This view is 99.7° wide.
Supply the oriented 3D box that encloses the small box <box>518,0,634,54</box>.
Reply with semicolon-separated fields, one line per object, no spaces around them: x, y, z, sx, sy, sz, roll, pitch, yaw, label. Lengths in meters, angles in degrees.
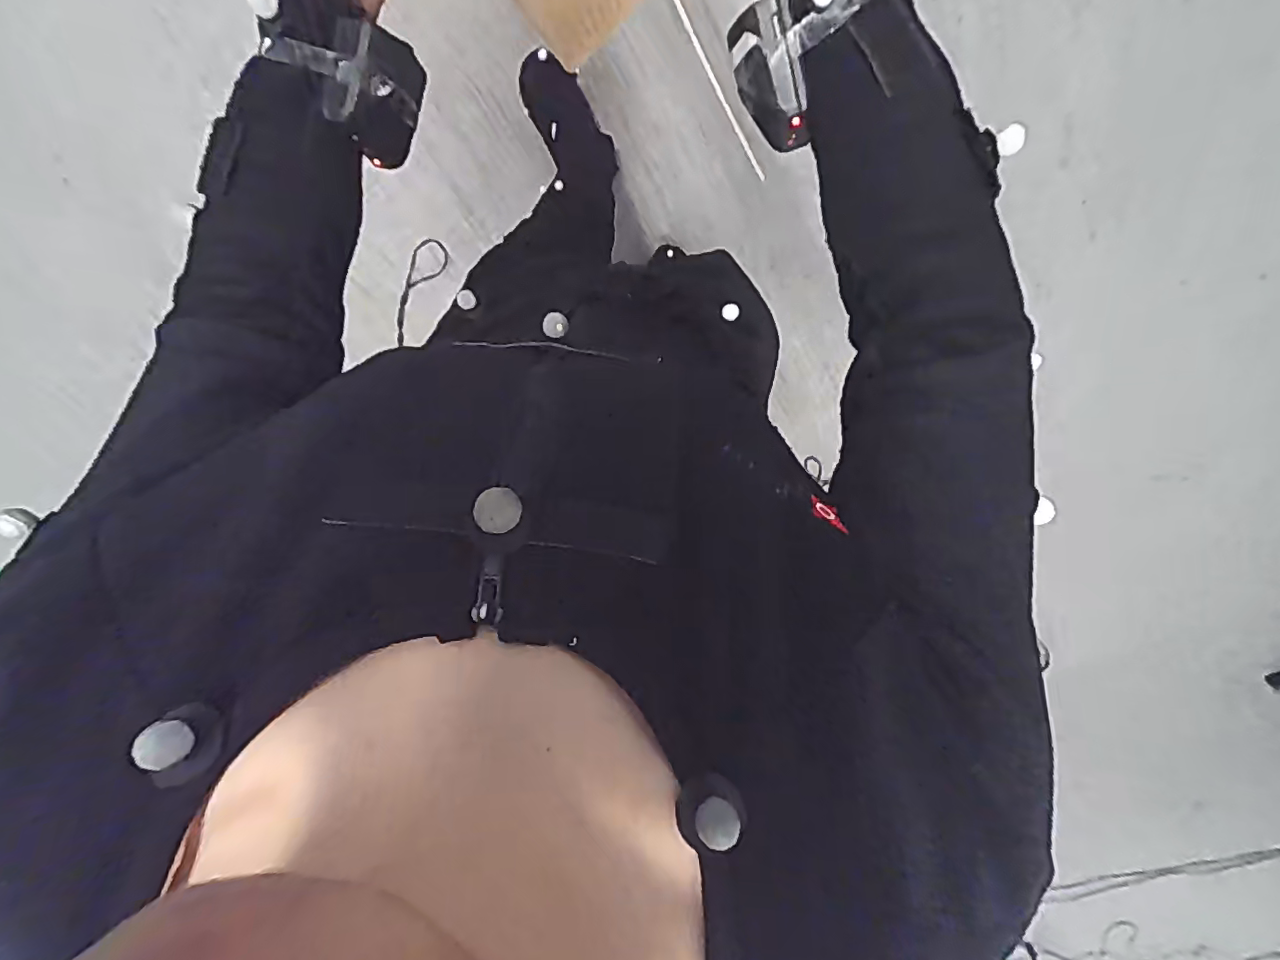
-0.045;-0.373;0.262;0.179;0.176;0.168;-41;95;13;small box
